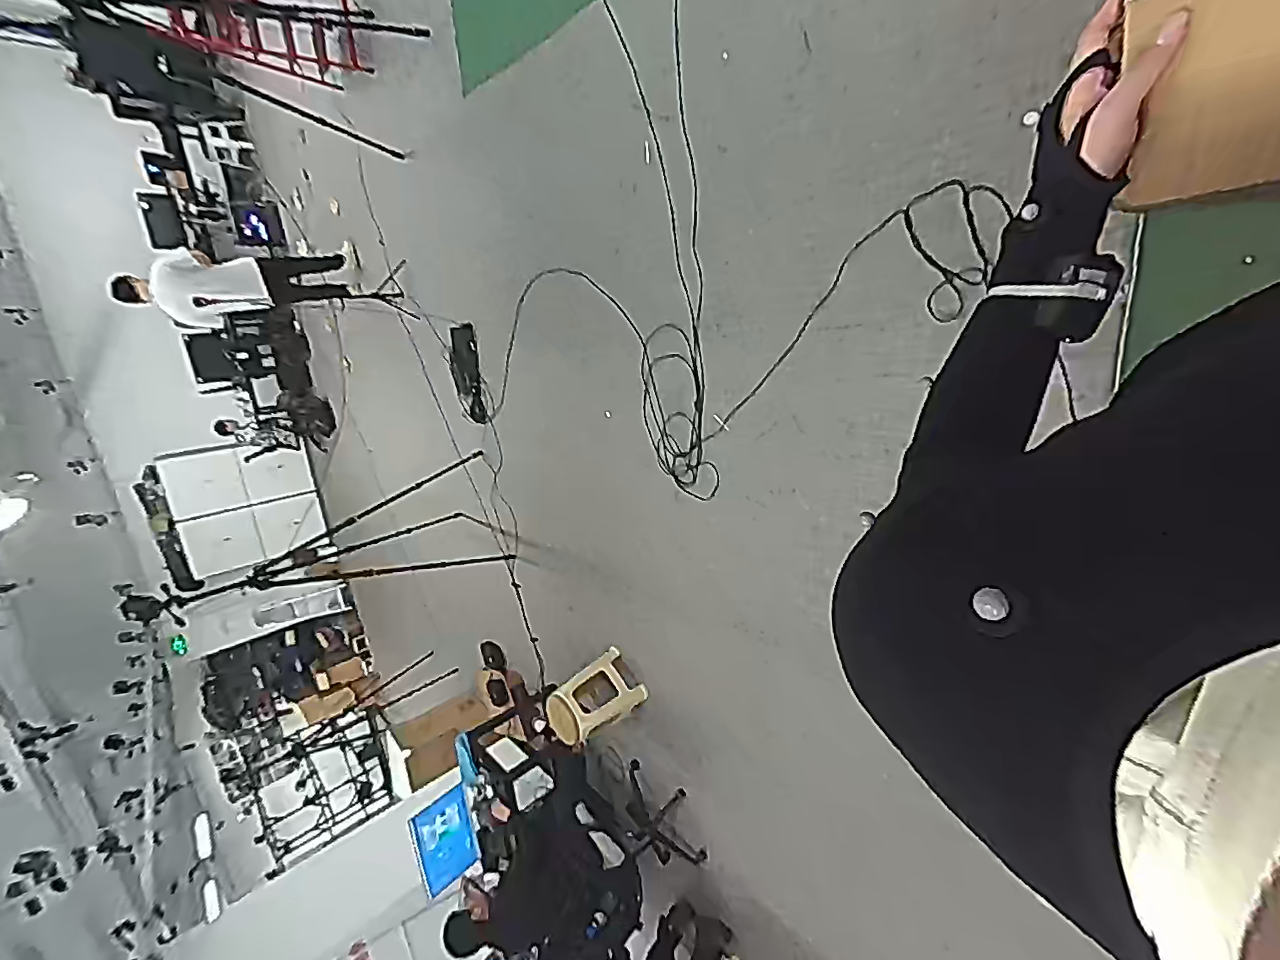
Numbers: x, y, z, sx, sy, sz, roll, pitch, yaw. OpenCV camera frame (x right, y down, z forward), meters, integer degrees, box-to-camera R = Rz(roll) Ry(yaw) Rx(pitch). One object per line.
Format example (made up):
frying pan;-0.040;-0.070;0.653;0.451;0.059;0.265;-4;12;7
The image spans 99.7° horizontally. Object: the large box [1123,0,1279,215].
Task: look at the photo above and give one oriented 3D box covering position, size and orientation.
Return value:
large box;0.617;-0.397;0.359;0.408;0.320;0.320;9;113;47
